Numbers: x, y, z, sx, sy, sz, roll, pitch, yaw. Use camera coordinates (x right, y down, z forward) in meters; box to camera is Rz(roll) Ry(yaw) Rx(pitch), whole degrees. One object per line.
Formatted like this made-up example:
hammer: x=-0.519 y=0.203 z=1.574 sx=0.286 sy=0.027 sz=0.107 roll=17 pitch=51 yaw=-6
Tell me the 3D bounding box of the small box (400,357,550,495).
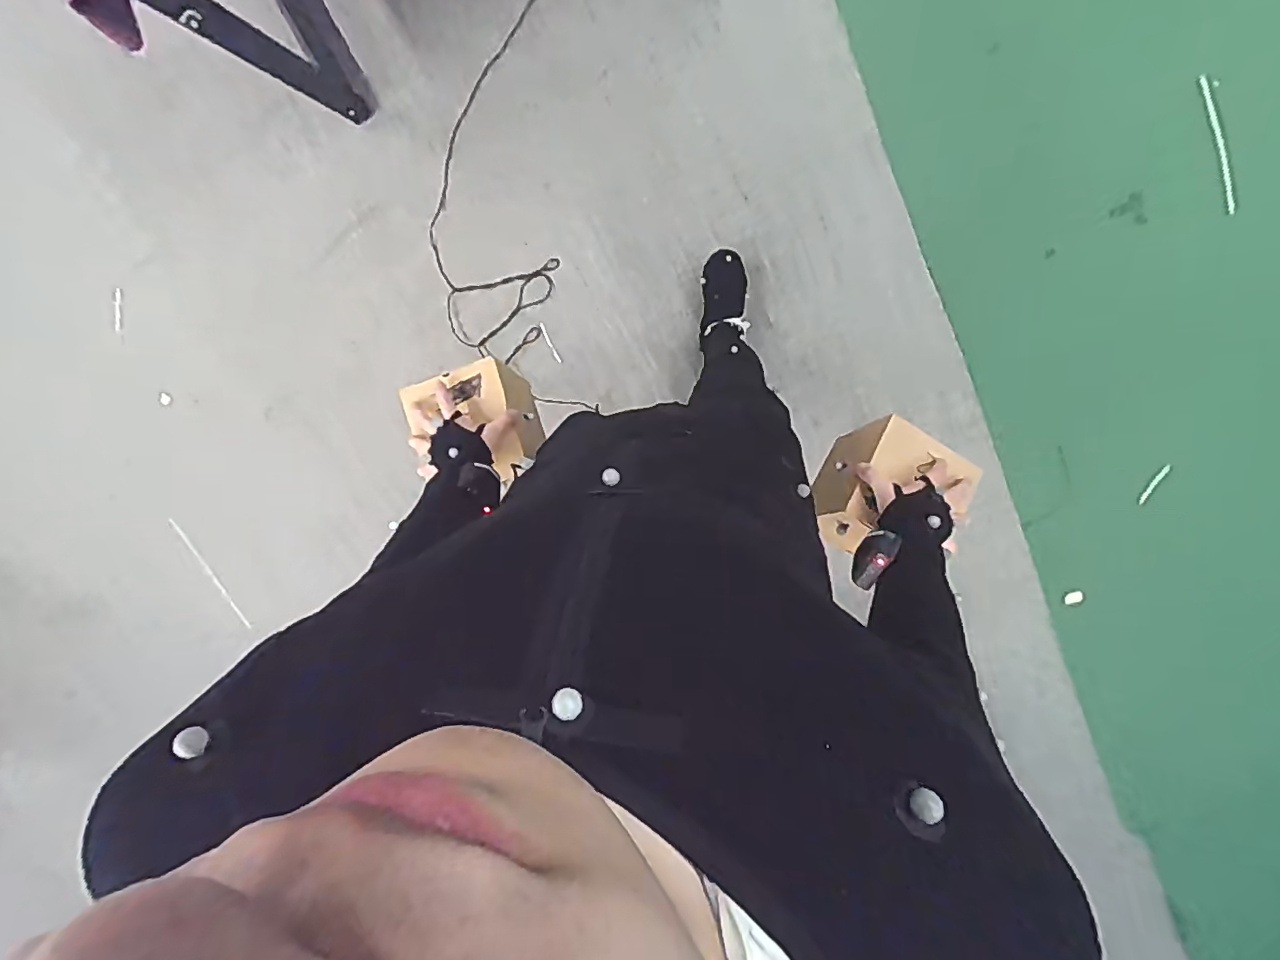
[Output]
small box: x=-0.273 y=-0.082 z=0.926 sx=0.168 sy=0.176 sz=0.179 roll=-20 pitch=84 yaw=6
